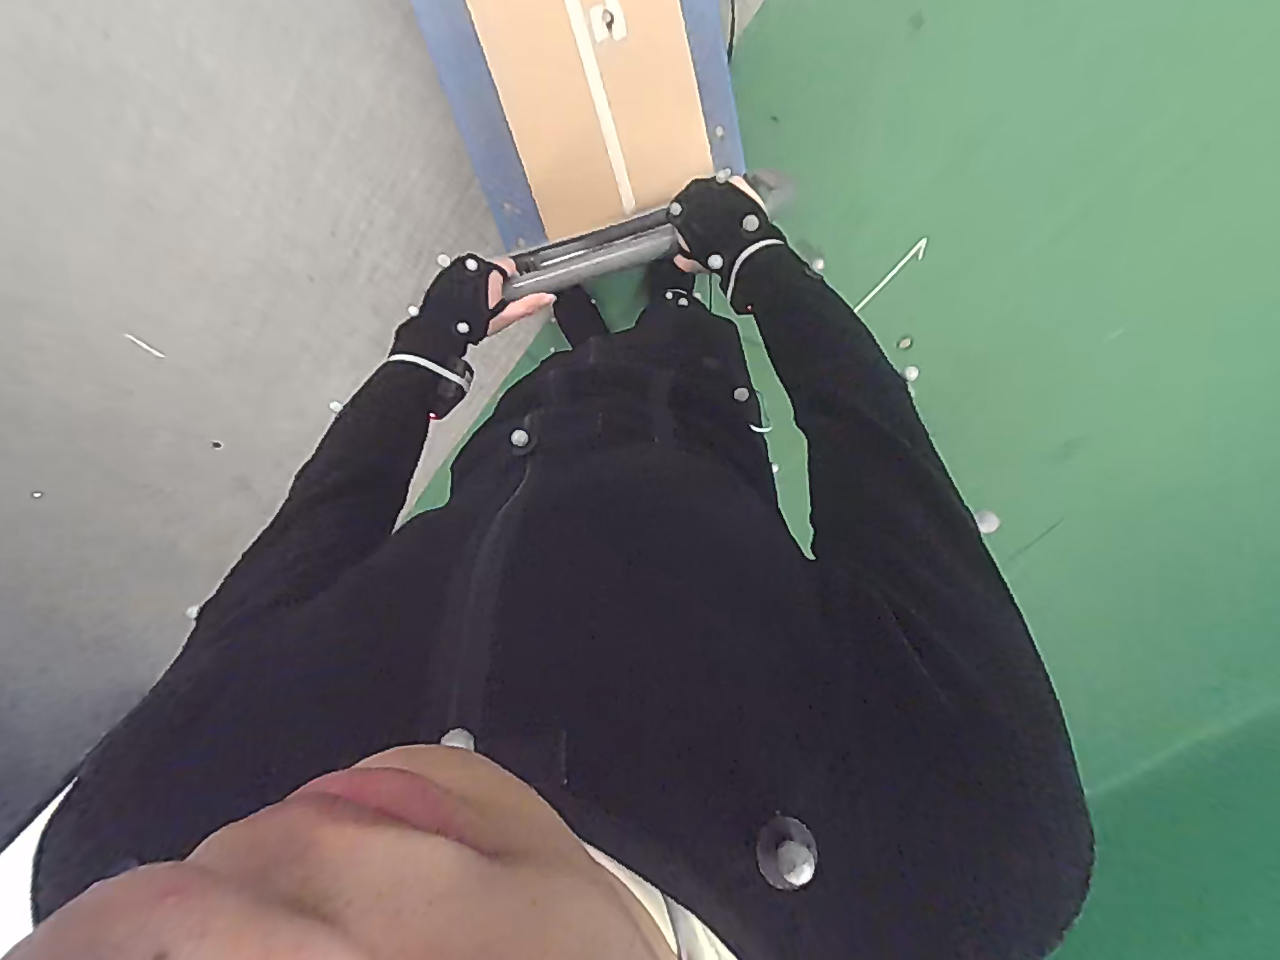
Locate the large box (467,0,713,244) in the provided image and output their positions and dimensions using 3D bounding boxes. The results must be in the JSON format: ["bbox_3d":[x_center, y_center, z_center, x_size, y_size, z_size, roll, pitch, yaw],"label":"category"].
[{"bbox_3d":[-0.066,-0.708,1.022,0.320,0.320,0.408,-14,116,9],"label":"large box"}]
